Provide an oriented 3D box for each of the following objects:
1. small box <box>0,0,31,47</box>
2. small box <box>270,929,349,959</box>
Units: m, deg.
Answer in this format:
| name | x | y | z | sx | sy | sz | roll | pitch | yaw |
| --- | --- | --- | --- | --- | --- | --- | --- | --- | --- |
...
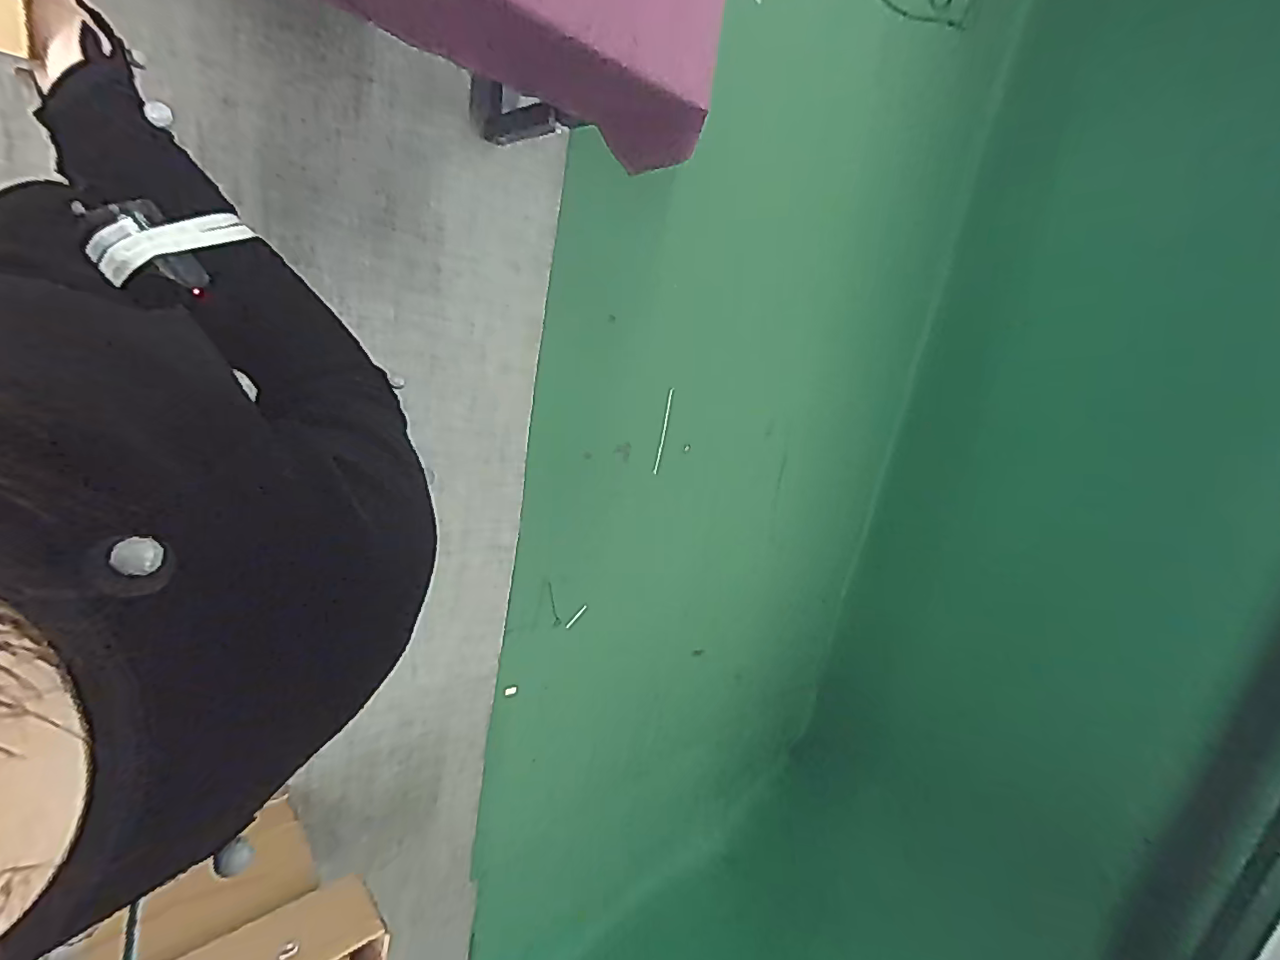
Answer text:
| name | x | y | z | sx | sy | sz | roll | pitch | yaw |
| --- | --- | --- | --- | --- | --- | --- | --- | --- | --- |
| small box | -0.420 | -0.352 | 0.255 | 0.168 | 0.176 | 0.179 | -4 | 125 | -45 |
| small box | -0.740 | 1.154 | 1.186 | 0.179 | 0.176 | 0.168 | 1 | 106 | -44 |
